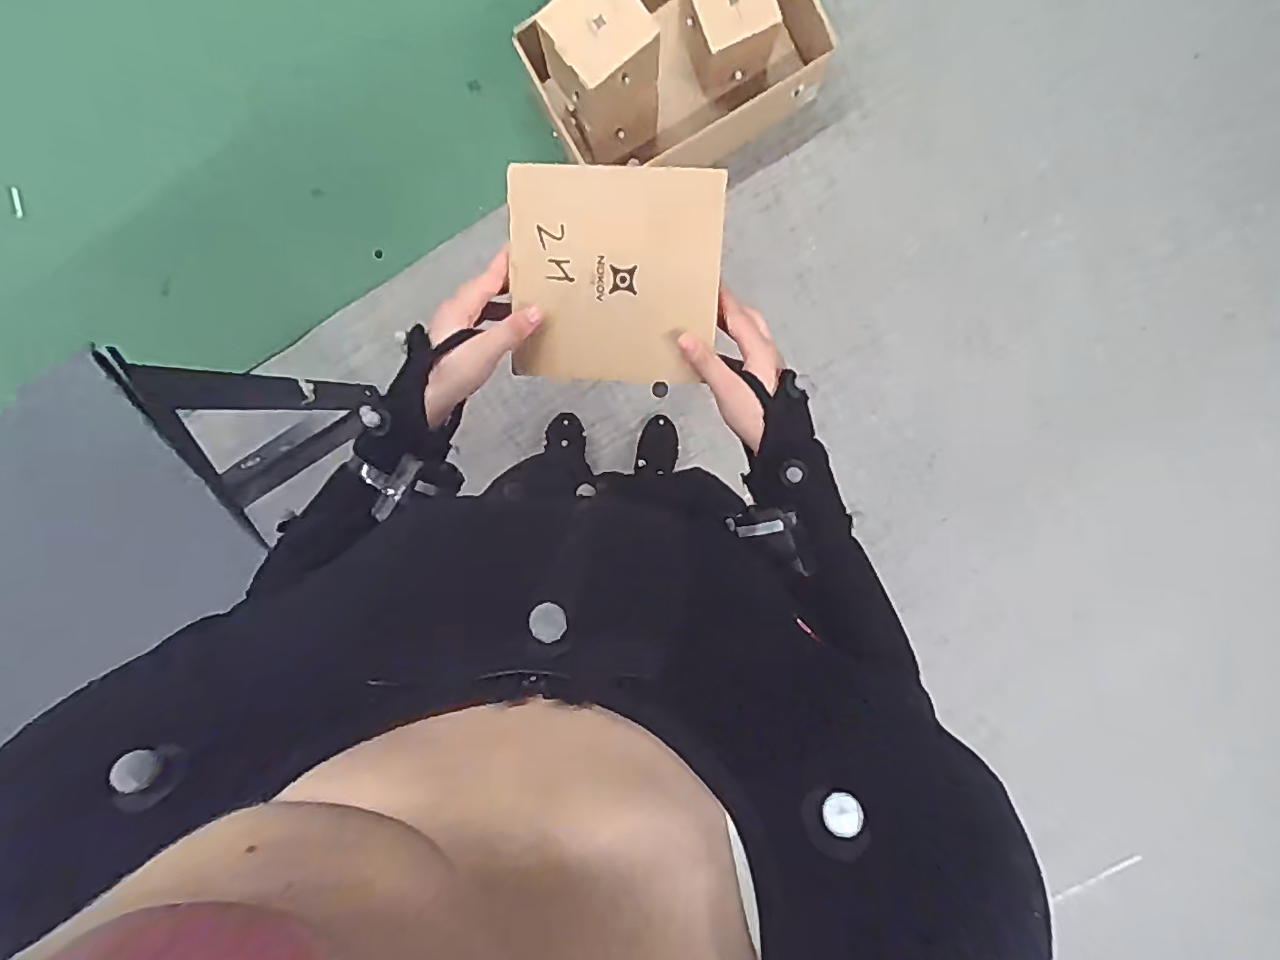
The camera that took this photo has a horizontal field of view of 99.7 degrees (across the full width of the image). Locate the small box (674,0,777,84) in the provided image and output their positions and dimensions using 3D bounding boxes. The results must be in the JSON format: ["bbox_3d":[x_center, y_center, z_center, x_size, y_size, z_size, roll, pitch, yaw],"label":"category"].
[{"bbox_3d":[0.182,-1.045,1.206,0.168,0.176,0.179,-23,99,4],"label":"small box"}]

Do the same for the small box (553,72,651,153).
[{"bbox_3d":[-0.086,-0.889,1.228,0.179,0.176,0.168,-28,98,4],"label":"small box"}]

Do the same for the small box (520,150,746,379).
[{"bbox_3d":[-0.007,-0.192,0.511,0.179,0.176,0.168,4,106,2],"label":"small box"}]

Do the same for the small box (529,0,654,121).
[{"bbox_3d":[-0.089,-0.864,1.065,0.179,0.176,0.168,-39,97,3],"label":"small box"}]
